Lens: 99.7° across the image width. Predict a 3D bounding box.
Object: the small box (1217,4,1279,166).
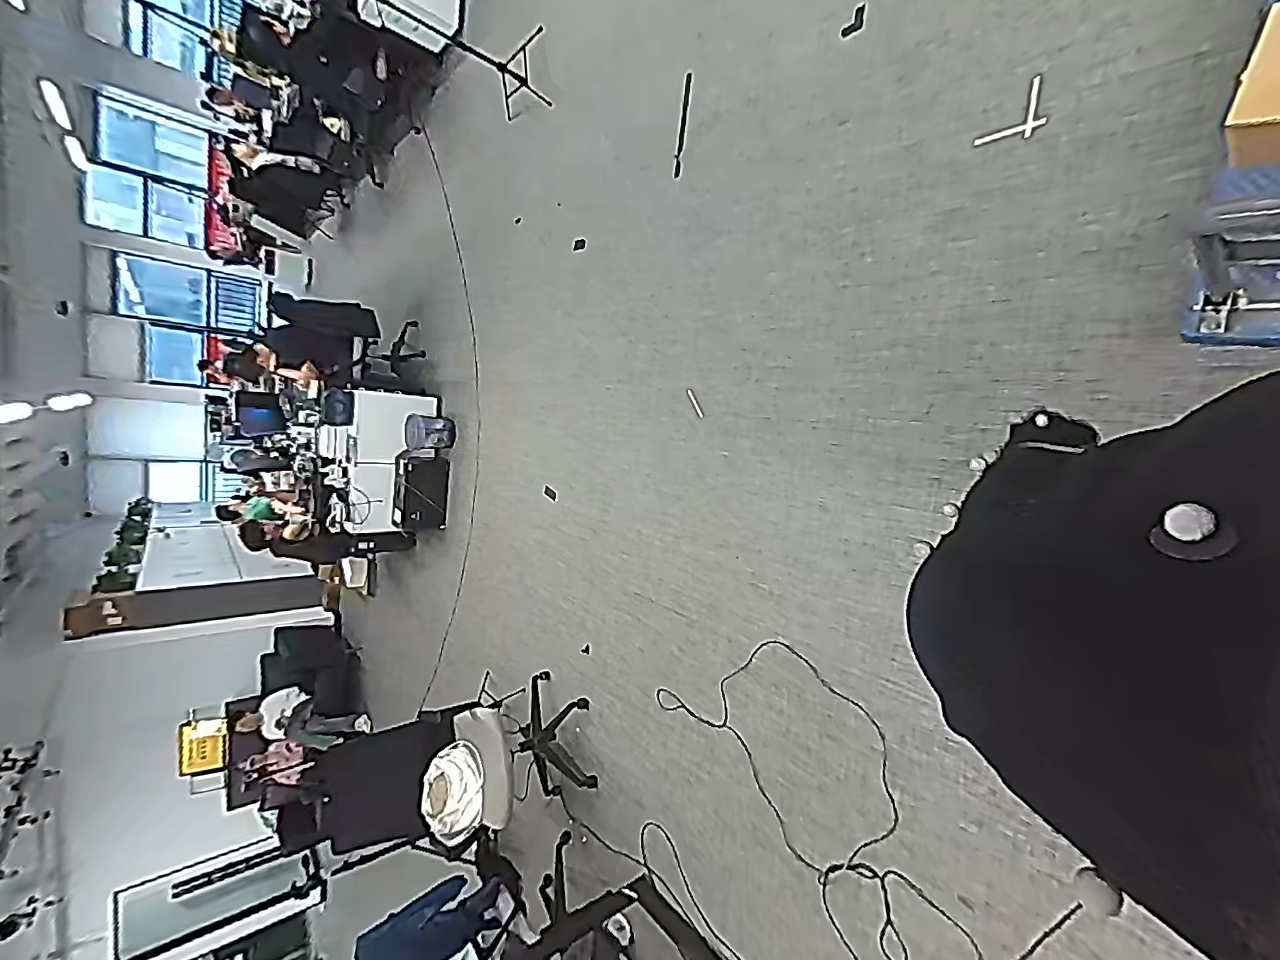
[{"bbox_3d":[1.020,-0.593,0.809,0.179,0.176,0.168,25,108,45],"label":"small box"}]
